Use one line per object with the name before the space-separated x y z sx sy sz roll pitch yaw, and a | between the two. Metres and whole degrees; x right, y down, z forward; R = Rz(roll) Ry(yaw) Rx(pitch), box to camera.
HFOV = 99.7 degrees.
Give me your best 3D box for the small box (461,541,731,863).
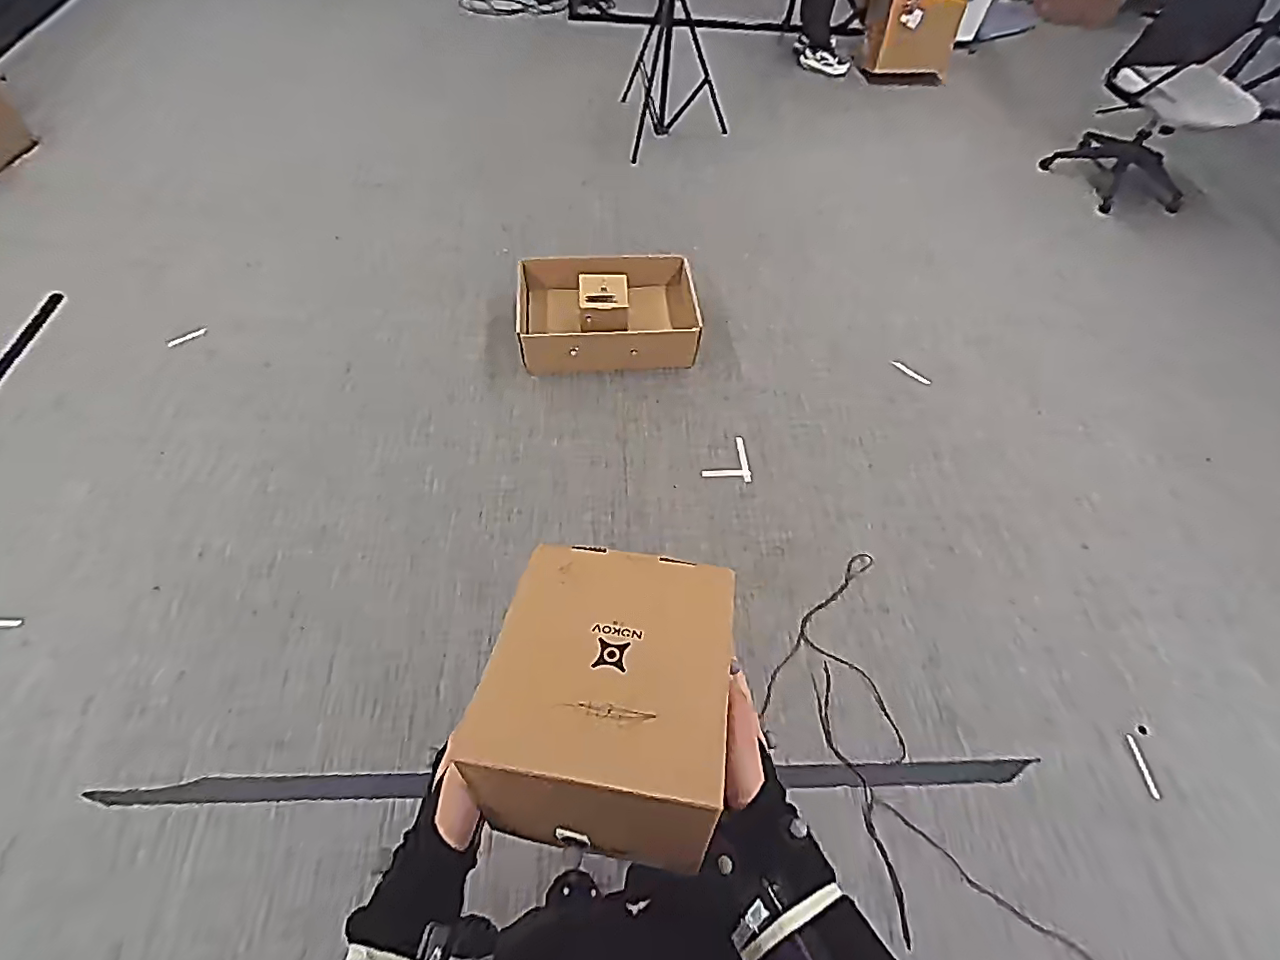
small box | -0.021 0.177 0.439 0.168 0.176 0.179 6 44 6
